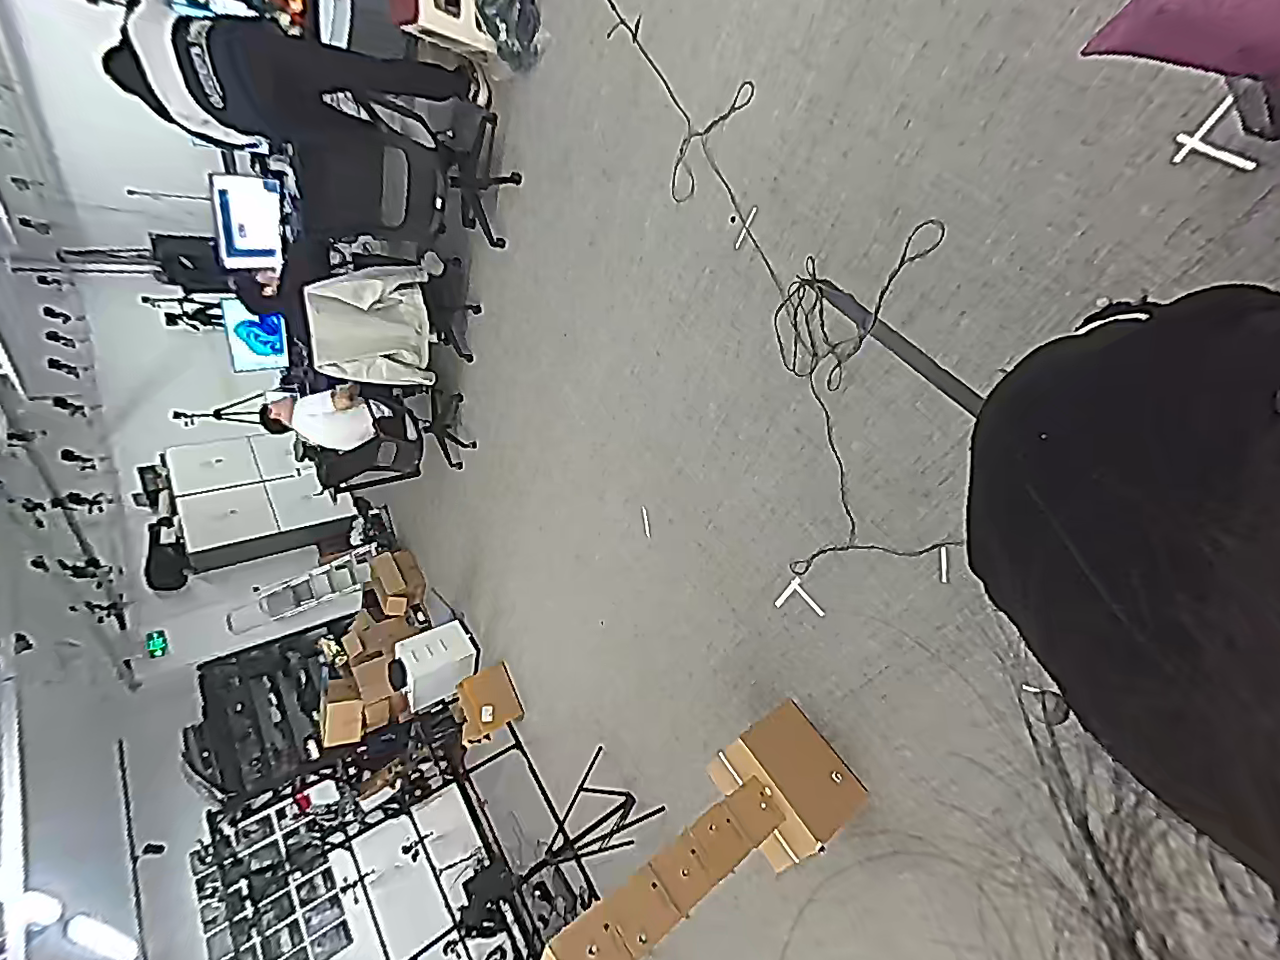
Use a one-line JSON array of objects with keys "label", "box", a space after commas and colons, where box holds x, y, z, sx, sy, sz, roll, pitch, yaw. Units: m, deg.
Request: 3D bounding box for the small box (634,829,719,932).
[{"label": "small box", "box": [0.114, 1.213, 1.647, 0.168, 0.176, 0.179, 46, 133, 33]}]

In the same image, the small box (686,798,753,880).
[{"label": "small box", "box": [0.238, 1.173, 1.748, 0.168, 0.176, 0.179, 49, 136, 30]}]

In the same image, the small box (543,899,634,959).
[{"label": "small box", "box": [-0.135, 1.278, 1.443, 0.168, 0.176, 0.179, 42, 131, 35]}]

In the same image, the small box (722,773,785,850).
[{"label": "small box", "box": [0.362, 1.145, 1.849, 0.168, 0.176, 0.179, 49, 135, 28]}]
